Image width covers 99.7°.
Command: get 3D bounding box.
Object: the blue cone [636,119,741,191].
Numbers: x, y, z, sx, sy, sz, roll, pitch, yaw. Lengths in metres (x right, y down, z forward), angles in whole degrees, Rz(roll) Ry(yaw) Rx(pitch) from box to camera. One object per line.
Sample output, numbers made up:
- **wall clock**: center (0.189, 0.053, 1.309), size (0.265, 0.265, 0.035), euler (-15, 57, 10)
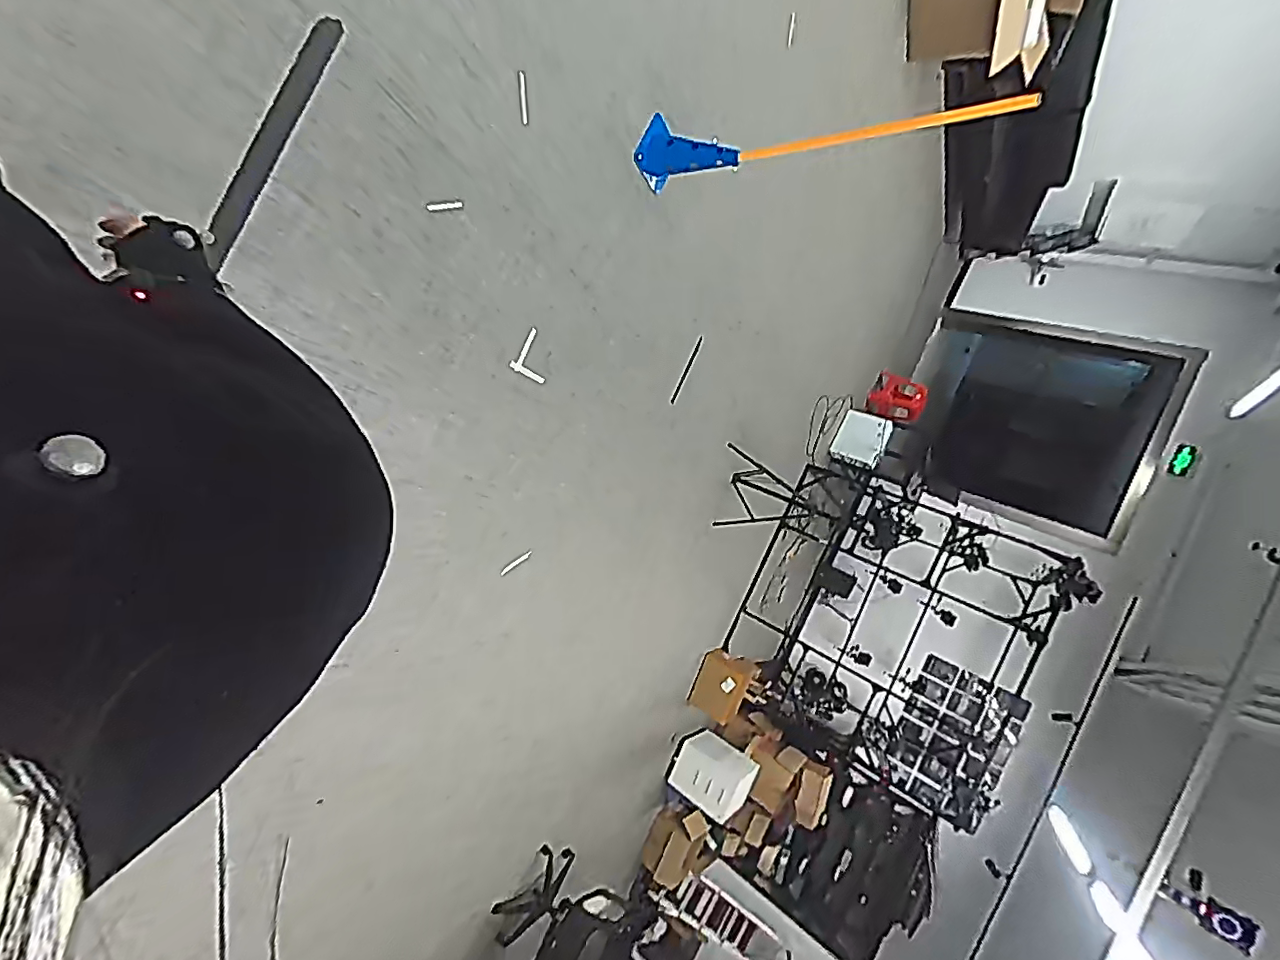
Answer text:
- **blue cone**: center (0.192, -1.144, 1.912), size (0.192, 0.380, 0.193), euler (-62, 148, -4)
